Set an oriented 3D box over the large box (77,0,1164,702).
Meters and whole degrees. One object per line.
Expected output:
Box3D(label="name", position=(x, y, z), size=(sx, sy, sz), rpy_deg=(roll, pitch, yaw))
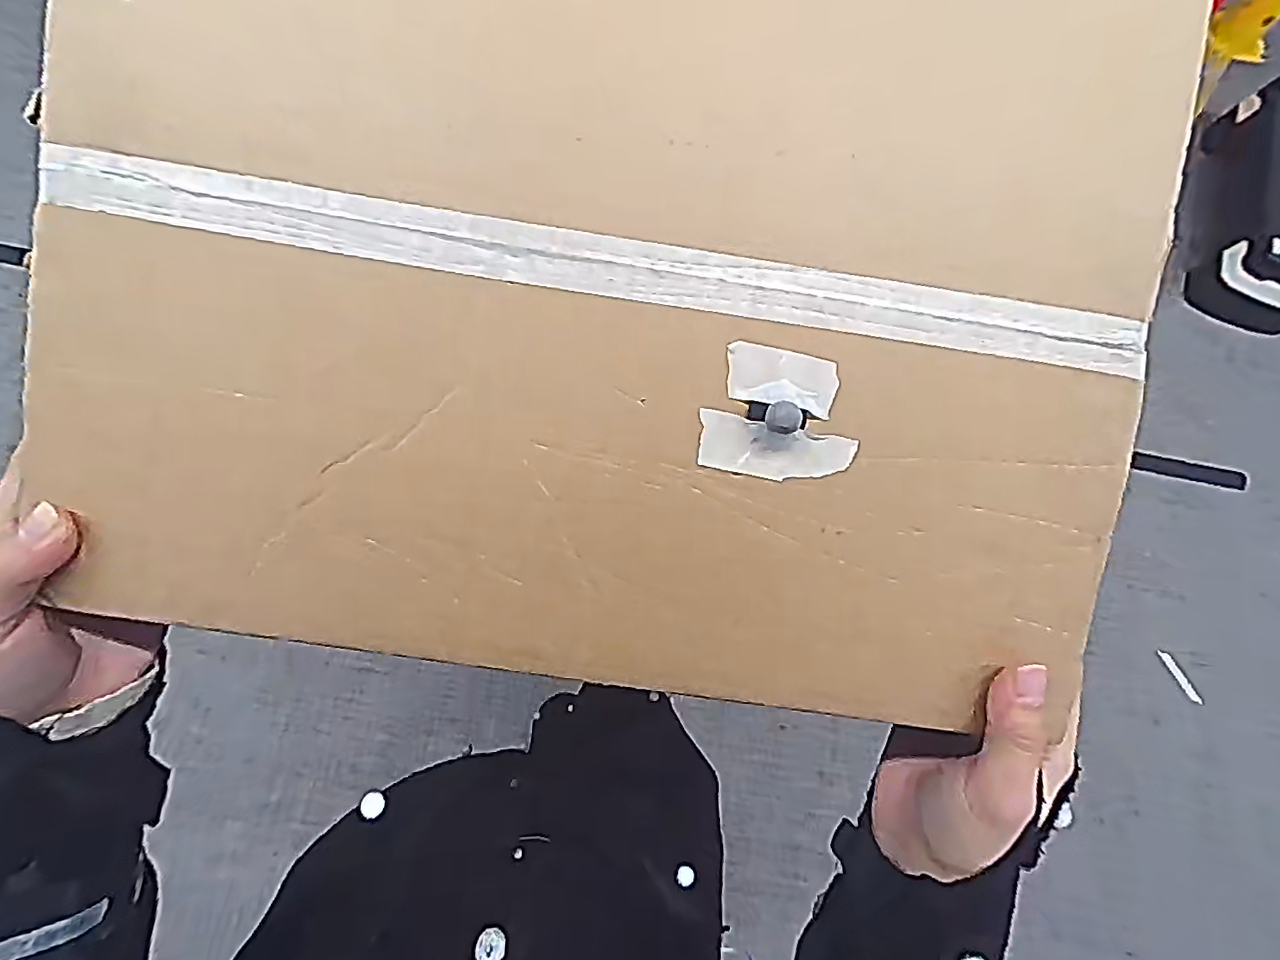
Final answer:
Box3D(label="large box", position=(-0.012, -0.087, 0.362), size=(0.408, 0.320, 0.320), rpy_deg=(8, 94, -3))
